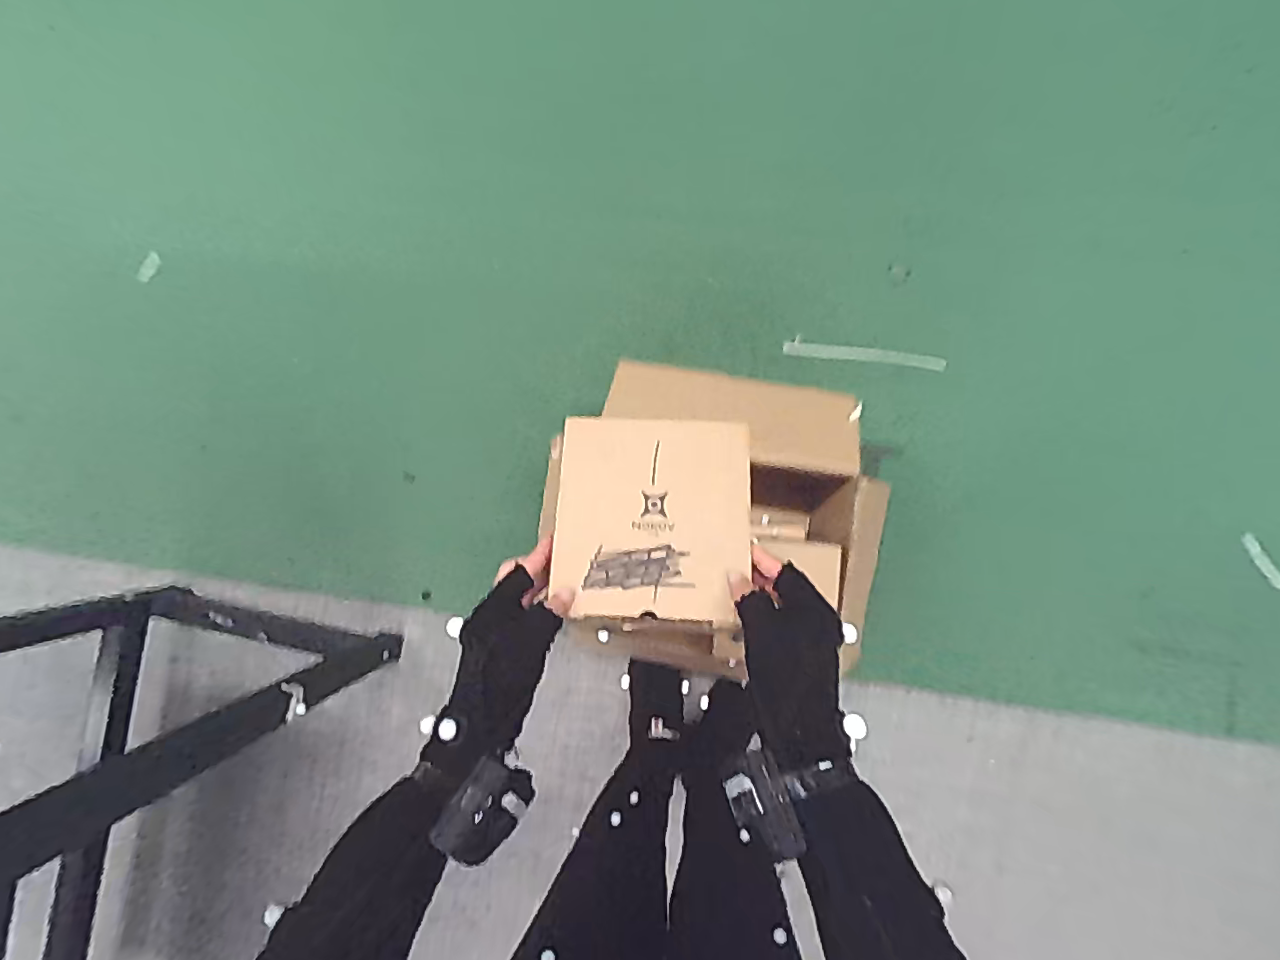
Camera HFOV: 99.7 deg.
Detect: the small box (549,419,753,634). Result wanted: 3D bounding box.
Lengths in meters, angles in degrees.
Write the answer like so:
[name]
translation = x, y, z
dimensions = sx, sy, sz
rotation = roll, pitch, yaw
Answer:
[small box]
translation = 0.017, 0.055, 0.526
dimensions = 0.168, 0.176, 0.179
rotation = 2, 72, 4
